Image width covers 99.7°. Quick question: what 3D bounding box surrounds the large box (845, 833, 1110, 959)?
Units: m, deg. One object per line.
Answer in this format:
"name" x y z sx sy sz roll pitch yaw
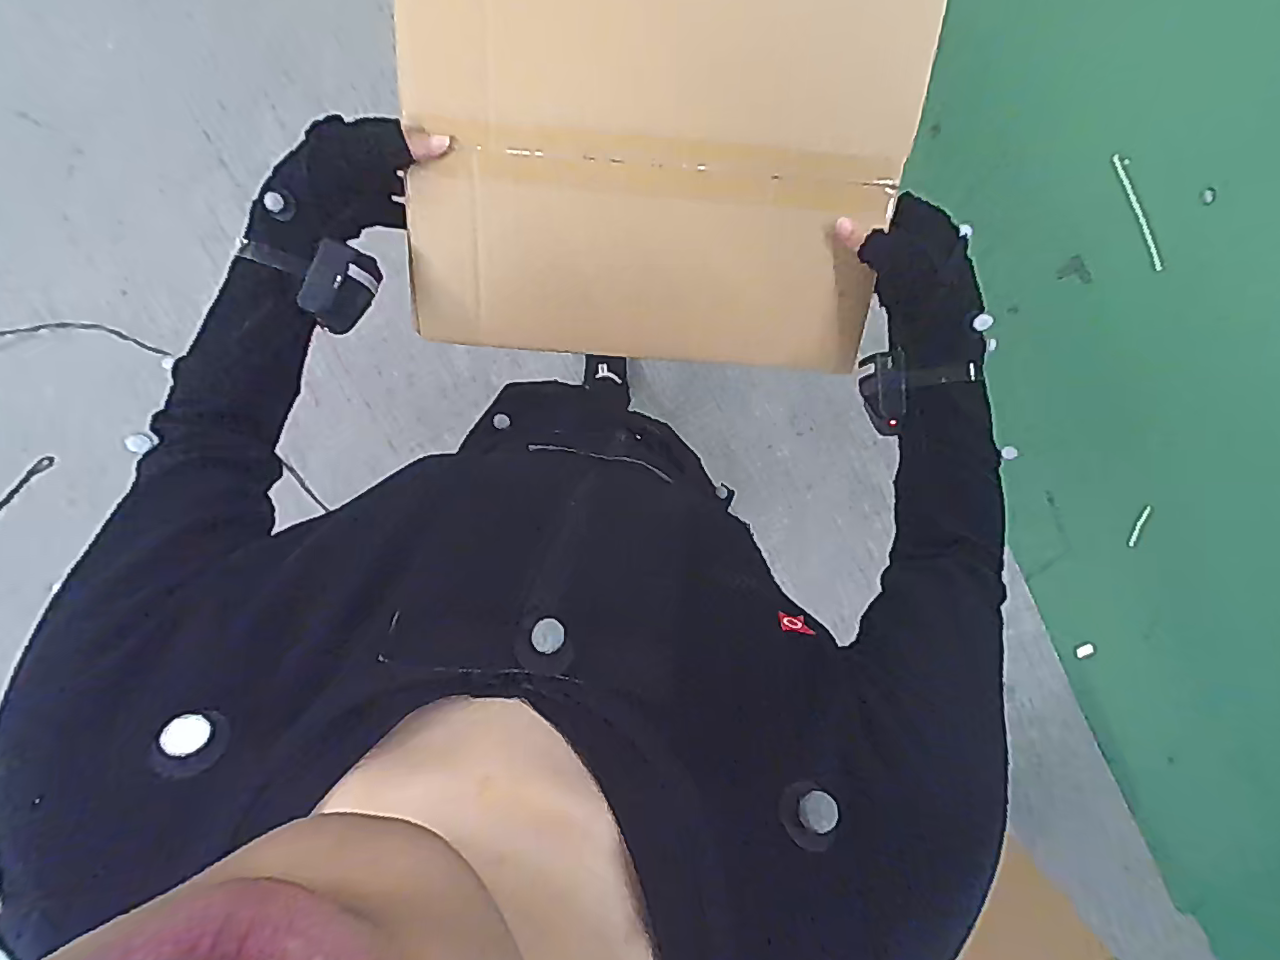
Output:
"large box" 0.710 1.029 1.096 0.408 0.320 0.320 -28 99 3
